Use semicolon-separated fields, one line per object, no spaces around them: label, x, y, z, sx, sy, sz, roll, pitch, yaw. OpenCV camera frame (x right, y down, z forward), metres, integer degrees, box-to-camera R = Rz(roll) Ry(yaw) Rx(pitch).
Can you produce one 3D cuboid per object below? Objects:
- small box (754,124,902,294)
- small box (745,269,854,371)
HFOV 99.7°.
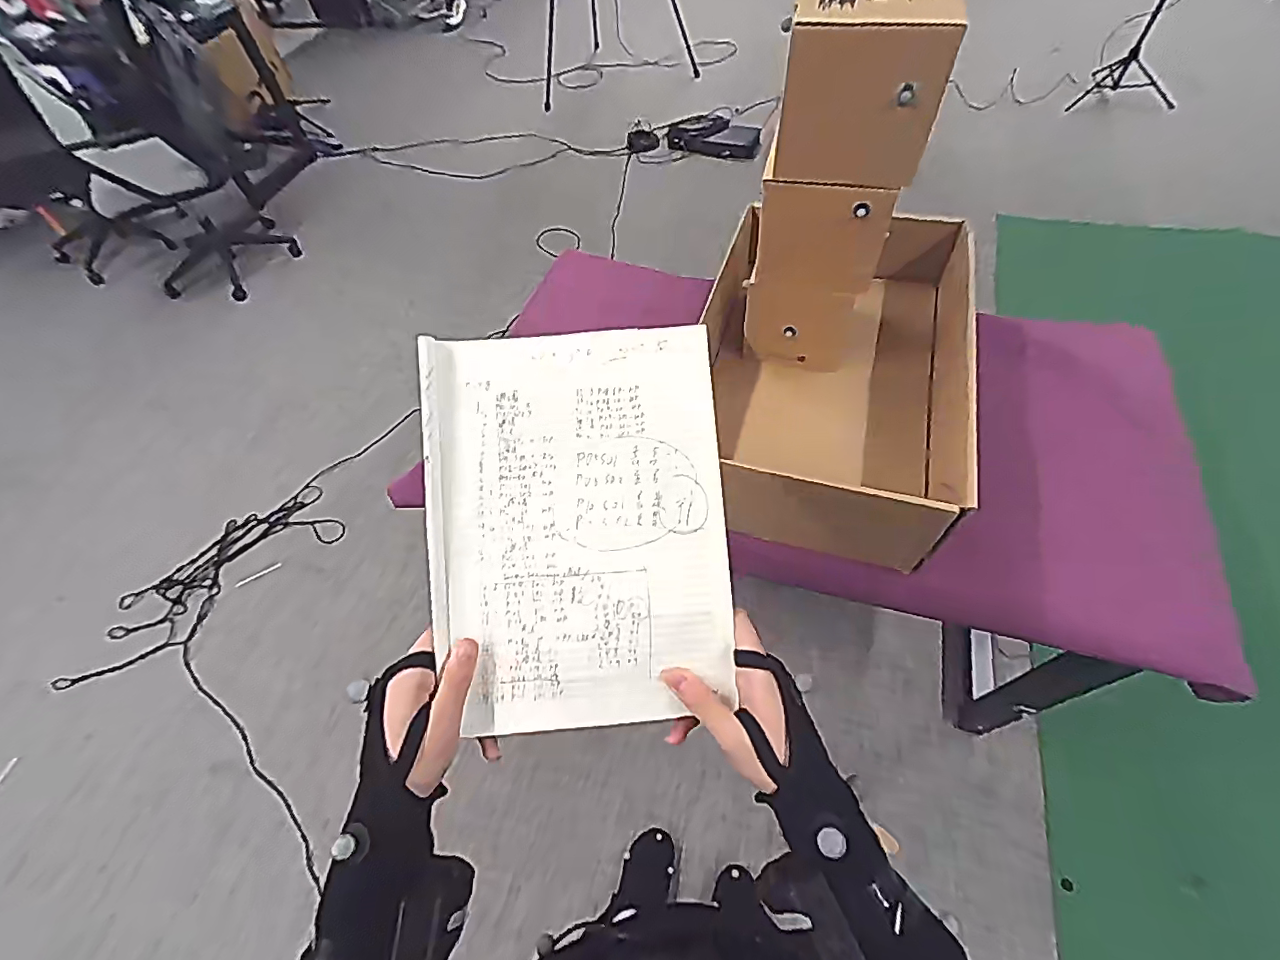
small box;0.271;-0.399;0.806;0.179;0.176;0.168;11;59;13
small box;0.283;-0.315;0.943;0.168;0.176;0.179;13;60;14
